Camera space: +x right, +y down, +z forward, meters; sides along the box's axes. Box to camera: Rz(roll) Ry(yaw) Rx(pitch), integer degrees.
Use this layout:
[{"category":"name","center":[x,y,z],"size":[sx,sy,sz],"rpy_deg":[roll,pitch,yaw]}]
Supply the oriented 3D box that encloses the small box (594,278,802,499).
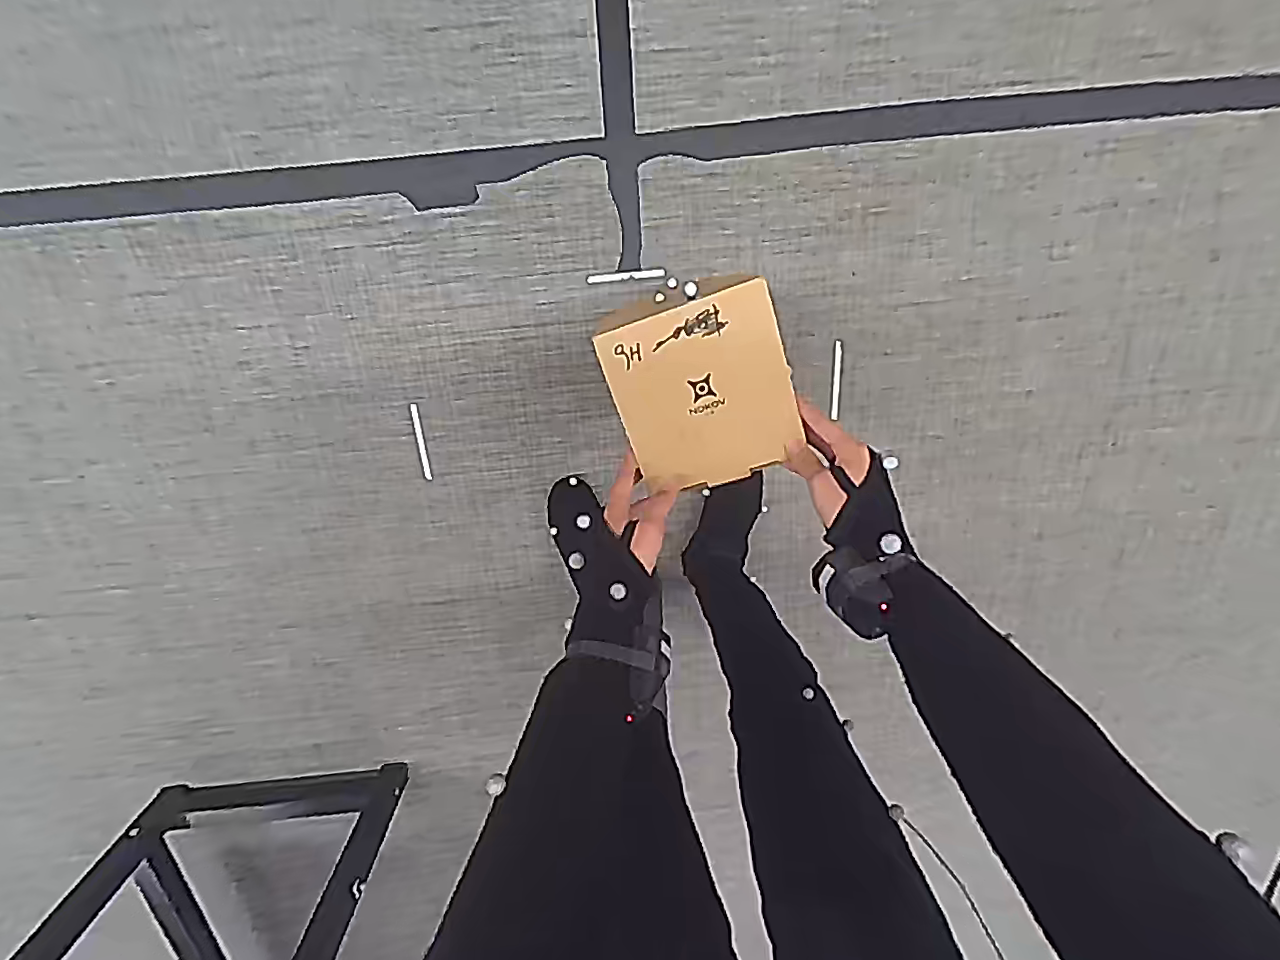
[{"category":"small box","center":[0.064,-0.108,0.595],"size":[0.168,0.176,0.179],"rpy_deg":[-17,110,9]}]
